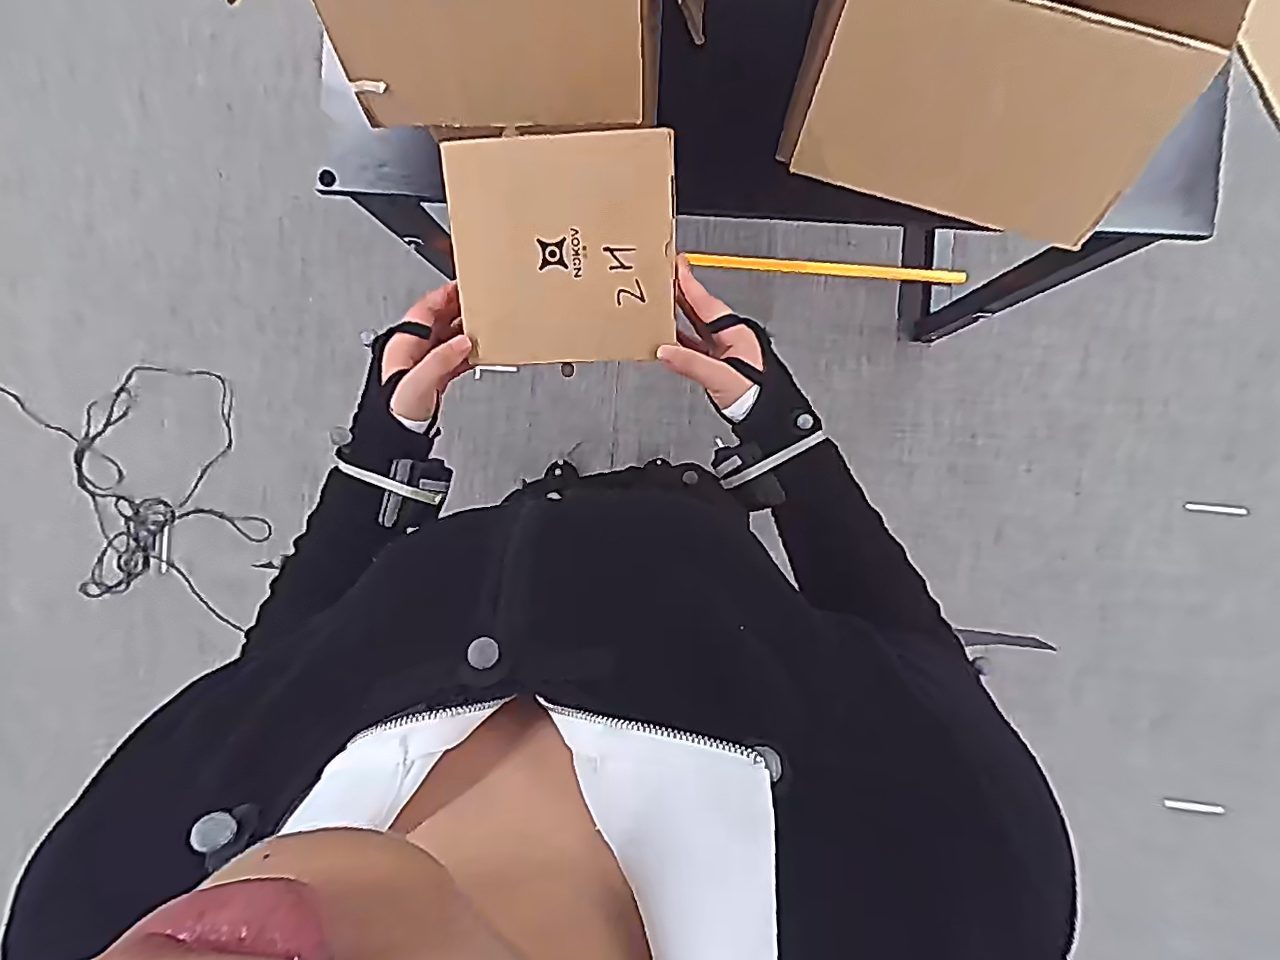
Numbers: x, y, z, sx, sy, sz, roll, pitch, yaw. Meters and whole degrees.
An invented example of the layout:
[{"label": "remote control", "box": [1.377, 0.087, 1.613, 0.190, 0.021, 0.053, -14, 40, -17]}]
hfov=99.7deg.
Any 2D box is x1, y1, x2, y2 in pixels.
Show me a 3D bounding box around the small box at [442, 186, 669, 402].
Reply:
[{"label": "small box", "box": [-0.062, -0.167, 0.510, 0.179, 0.176, 0.168, -1, 108, 2]}]
